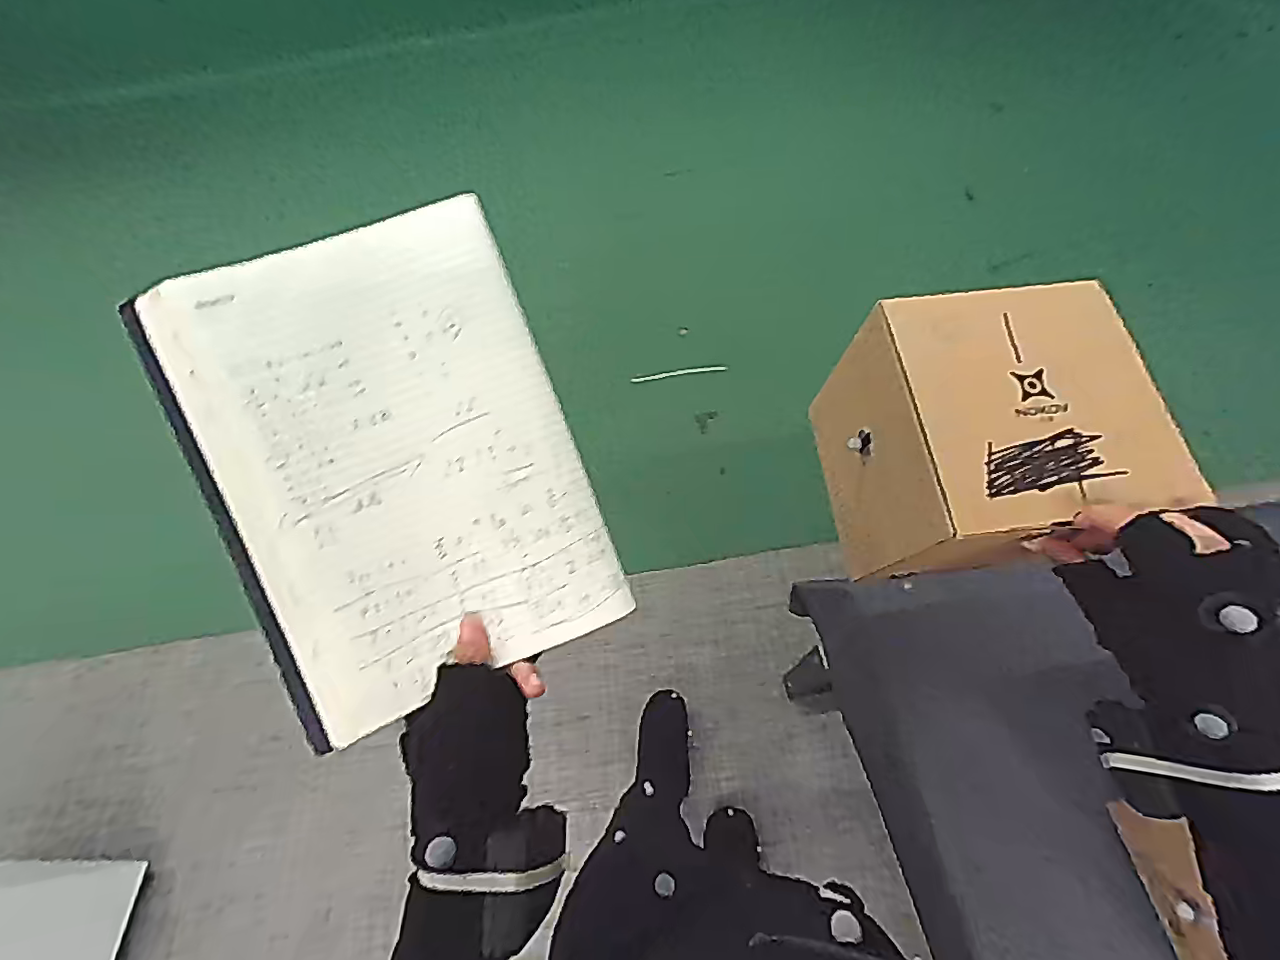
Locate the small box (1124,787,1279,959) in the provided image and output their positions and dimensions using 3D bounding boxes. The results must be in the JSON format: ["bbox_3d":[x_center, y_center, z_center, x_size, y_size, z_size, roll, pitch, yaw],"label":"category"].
[{"bbox_3d":[0.586,0.364,0.456,0.179,0.176,0.168,-9,61,0],"label":"small box"}]

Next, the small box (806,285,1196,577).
[{"bbox_3d":[0.252,-0.025,0.433,0.168,0.176,0.179,-6,68,-4],"label":"small box"}]
